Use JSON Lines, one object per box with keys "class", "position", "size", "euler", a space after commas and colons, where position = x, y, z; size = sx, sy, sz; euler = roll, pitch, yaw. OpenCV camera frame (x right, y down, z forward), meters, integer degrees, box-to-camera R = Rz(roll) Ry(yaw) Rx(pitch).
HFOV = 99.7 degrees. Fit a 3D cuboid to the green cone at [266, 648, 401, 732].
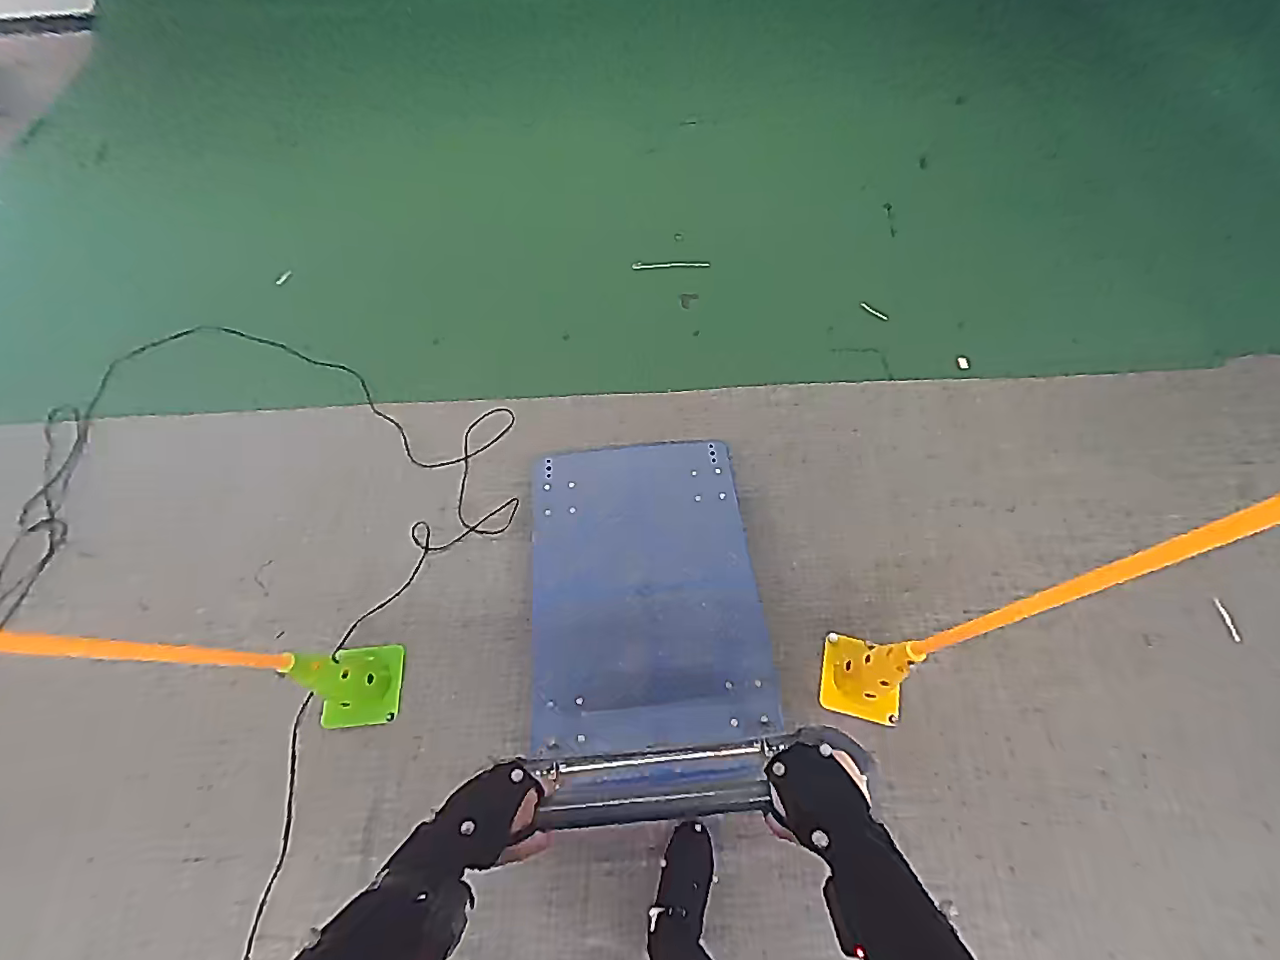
{"class": "green cone", "position": [-0.755, 0.476, 1.297], "size": [0.202, 0.368, 0.200], "euler": [-7, 61, 0]}
